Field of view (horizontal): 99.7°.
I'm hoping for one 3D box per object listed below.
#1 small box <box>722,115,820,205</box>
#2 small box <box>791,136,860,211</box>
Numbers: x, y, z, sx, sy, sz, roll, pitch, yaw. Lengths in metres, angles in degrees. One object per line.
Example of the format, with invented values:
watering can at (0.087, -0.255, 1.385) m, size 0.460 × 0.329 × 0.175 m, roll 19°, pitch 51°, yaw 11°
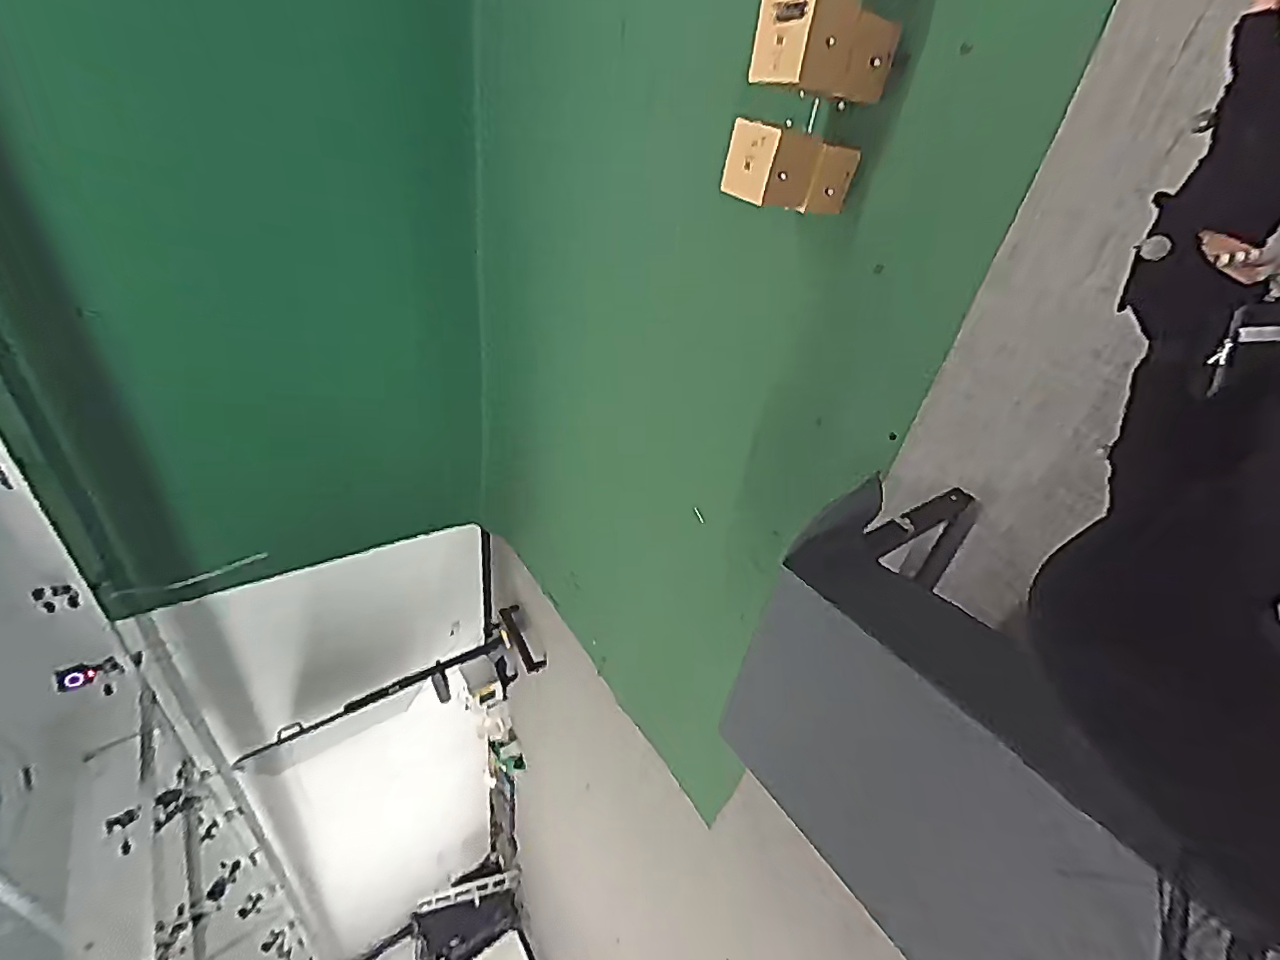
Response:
small box at (0.352, -0.856, 1.454) m, size 0.168 × 0.176 × 0.179 m, roll 46°, pitch 138°, yaw 36°
small box at (0.489, -0.881, 1.544) m, size 0.179 × 0.176 × 0.168 m, roll 47°, pitch 138°, yaw 35°
